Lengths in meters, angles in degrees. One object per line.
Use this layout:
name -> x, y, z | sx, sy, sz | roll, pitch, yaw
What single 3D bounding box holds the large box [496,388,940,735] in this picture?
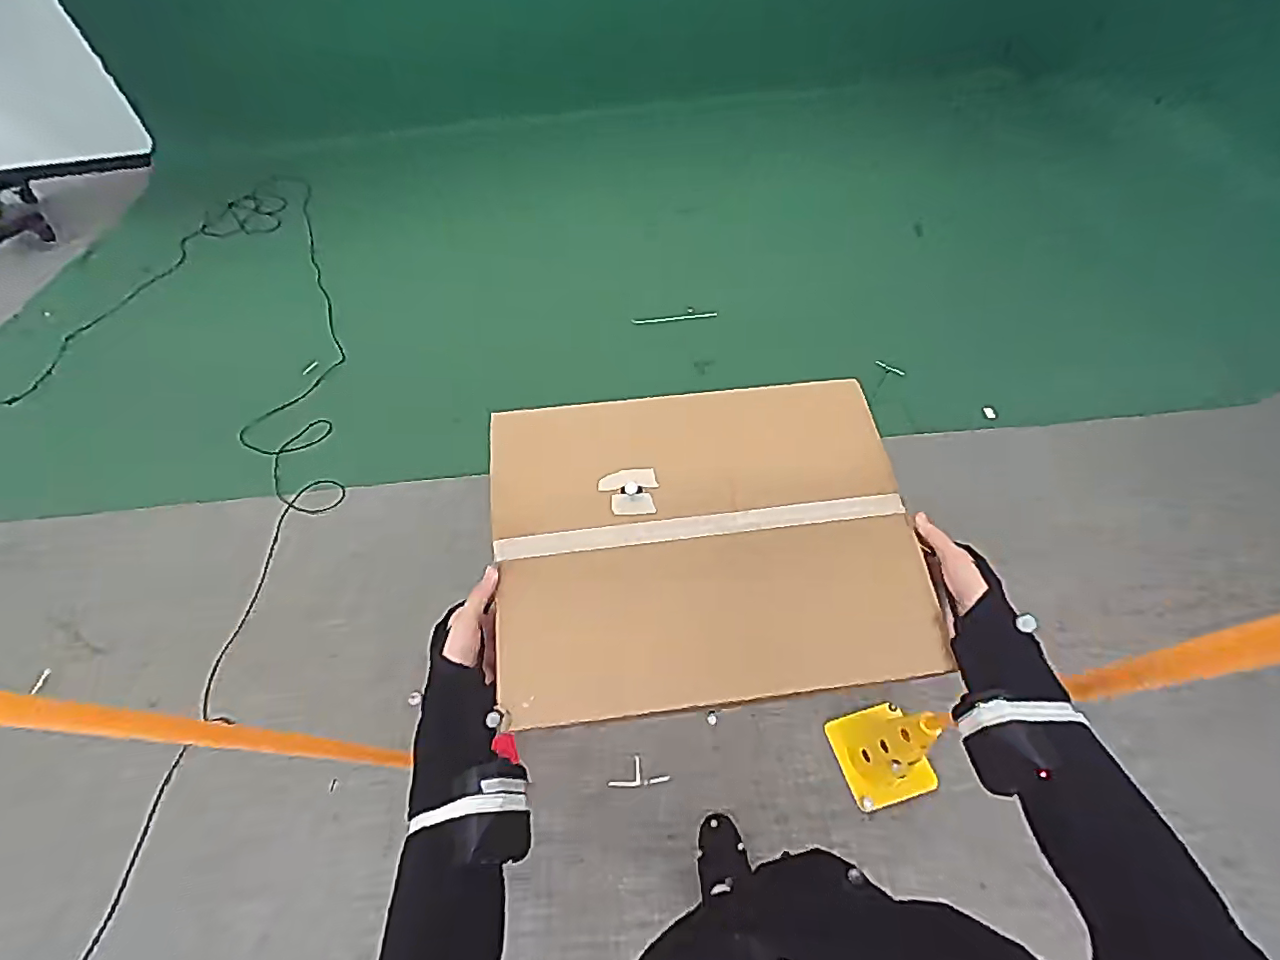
large box -> 0.061, 0.118, 0.676 | 0.408, 0.320, 0.320 | -7, 65, -3
